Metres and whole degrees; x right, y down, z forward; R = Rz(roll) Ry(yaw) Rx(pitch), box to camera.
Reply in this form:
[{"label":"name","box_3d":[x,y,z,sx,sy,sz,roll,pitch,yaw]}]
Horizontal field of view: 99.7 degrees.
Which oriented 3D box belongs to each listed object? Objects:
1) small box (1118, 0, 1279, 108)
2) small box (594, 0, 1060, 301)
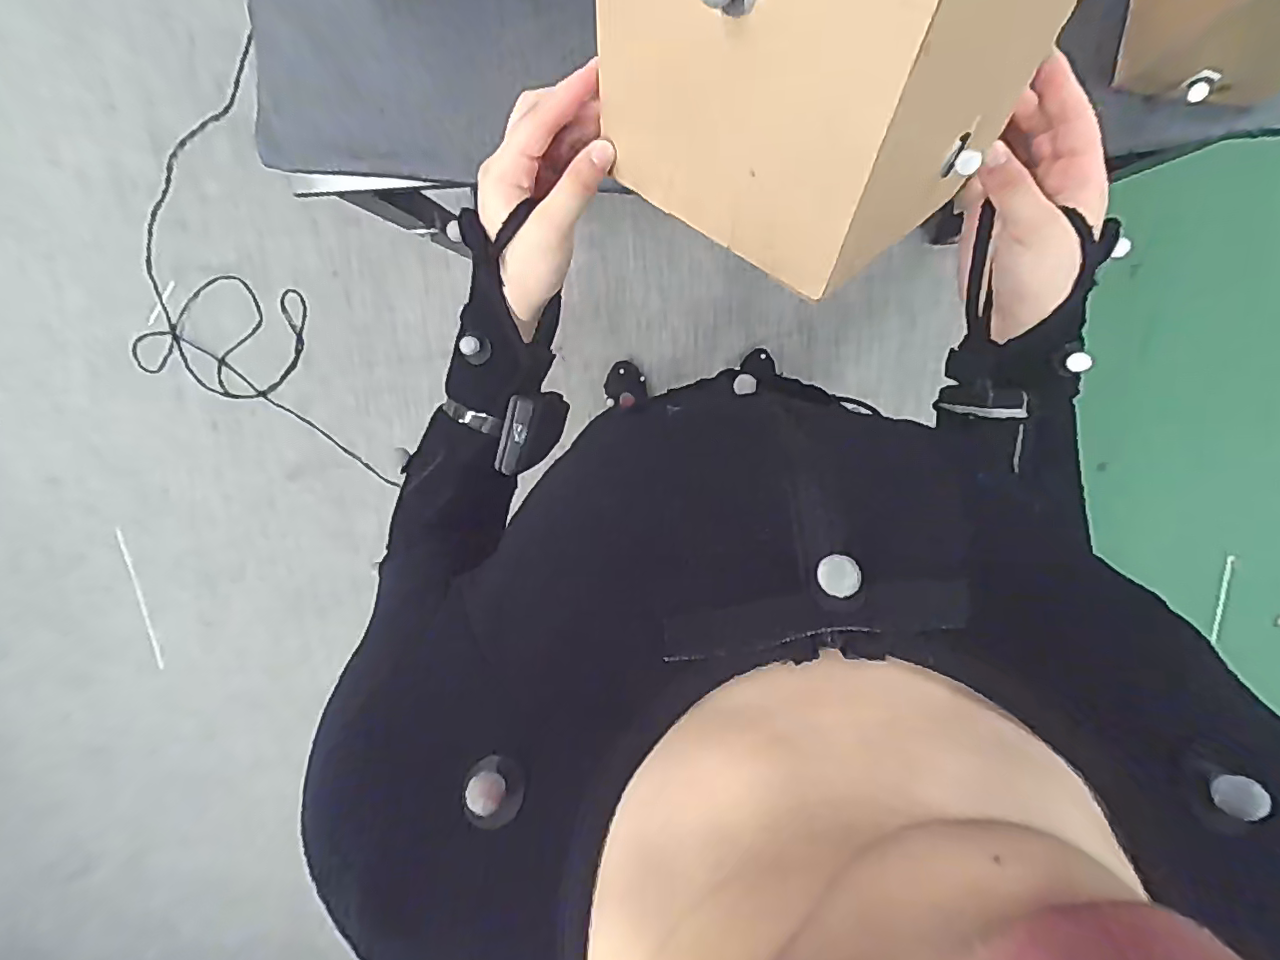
[{"label":"small box","box_3d":[0.619,-0.500,0.518,0.168,0.176,0.179,7,101,3]},{"label":"small box","box_3d":[0.093,-0.233,0.266,0.179,0.176,0.168,-40,68,-22]}]
